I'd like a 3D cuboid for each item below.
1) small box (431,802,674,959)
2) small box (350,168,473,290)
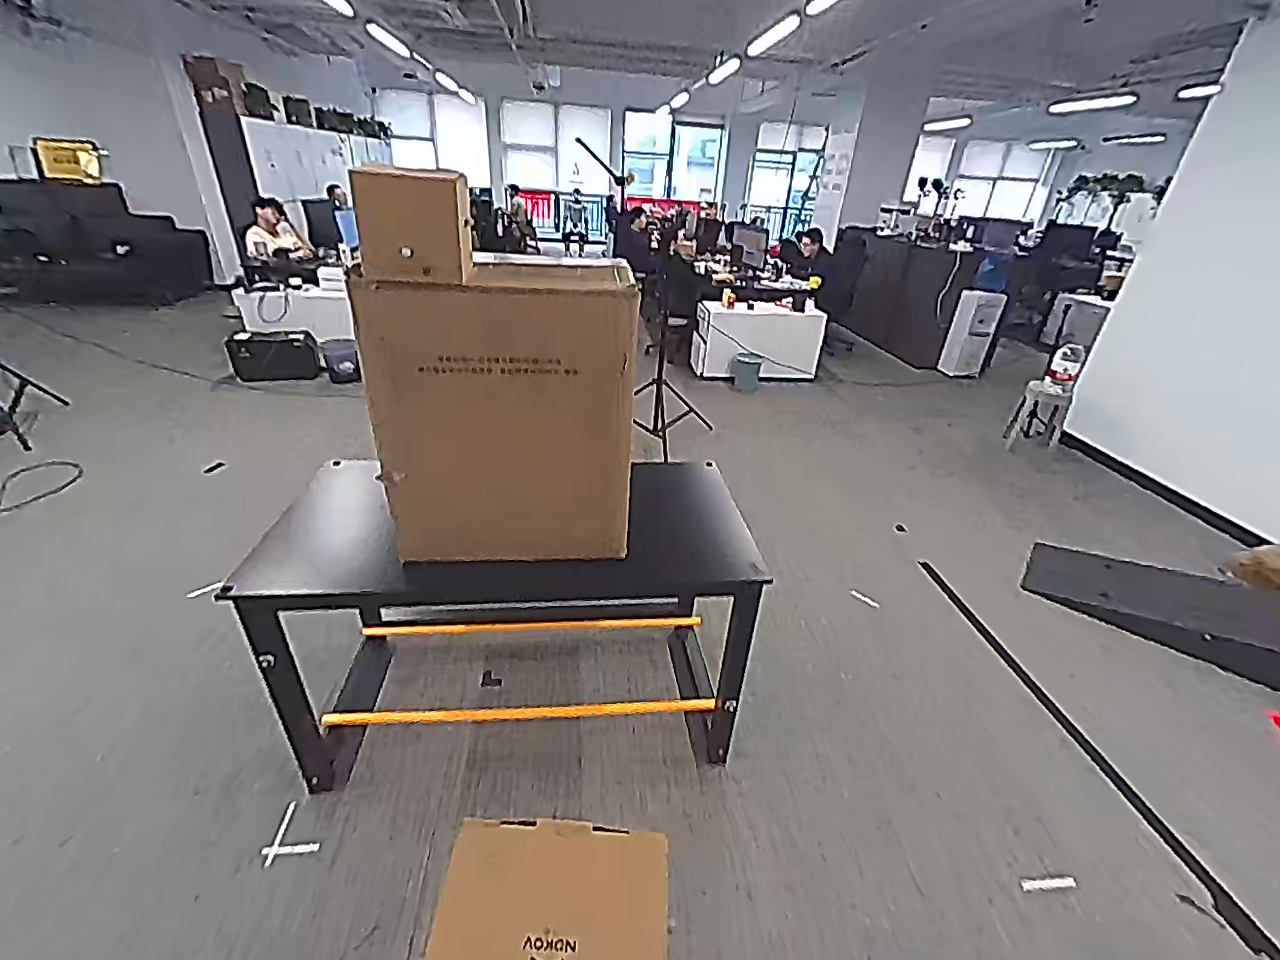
[{"bbox_3d":[-0.065,0.381,0.419,0.168,0.176,0.179,4,41,0],"label":"small box"},{"bbox_3d":[-0.396,-0.450,0.969,0.168,0.176,0.179,-1,32,-10],"label":"small box"}]
